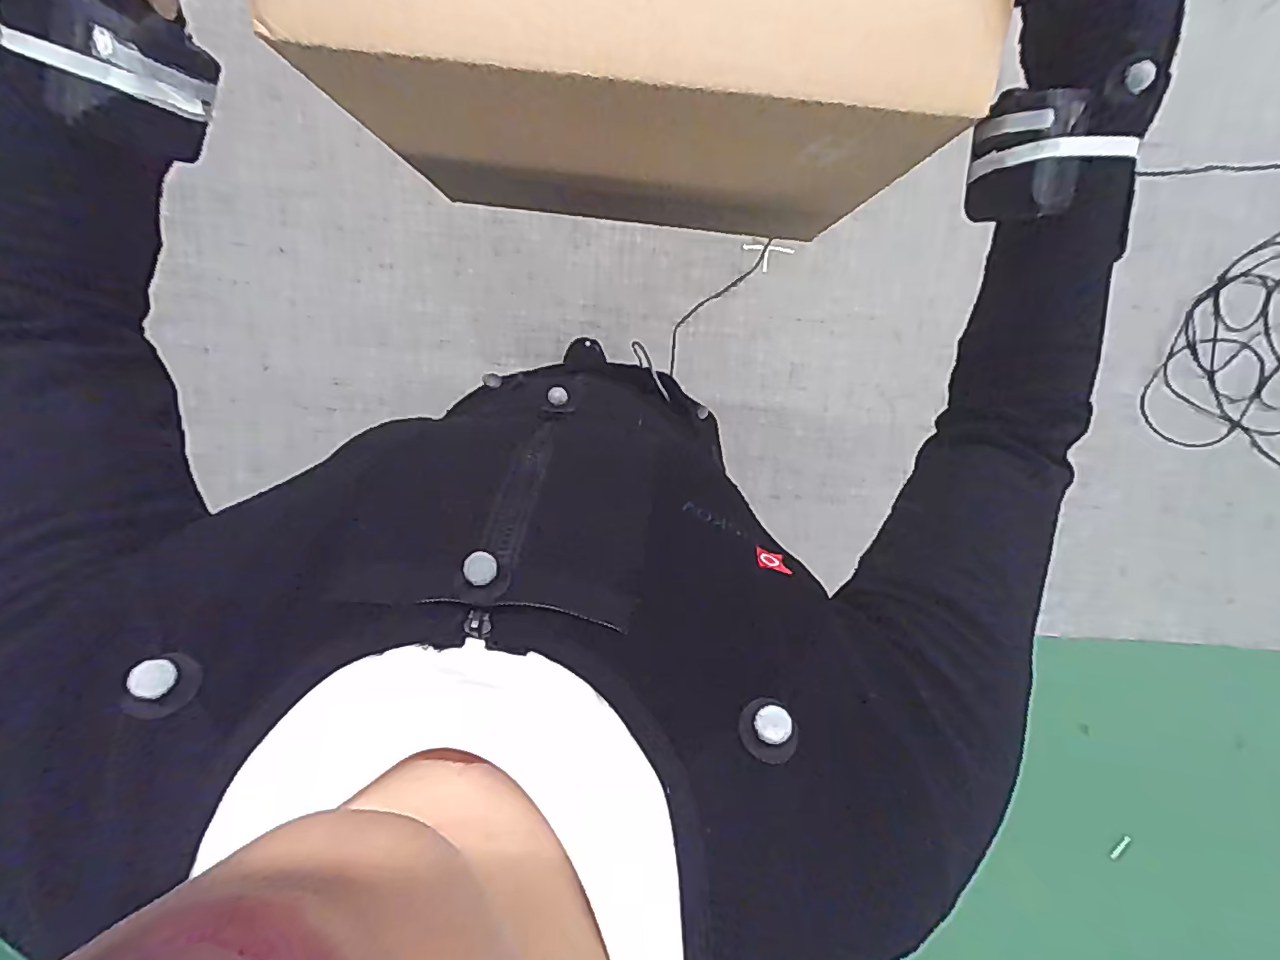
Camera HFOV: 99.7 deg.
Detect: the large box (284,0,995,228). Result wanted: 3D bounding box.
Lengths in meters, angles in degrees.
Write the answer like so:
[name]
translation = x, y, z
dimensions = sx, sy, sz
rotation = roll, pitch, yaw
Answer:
[large box]
translation = 0.008, -0.411, 0.423
dimensions = 0.408, 0.320, 0.320
rotation = 5, 103, -1
